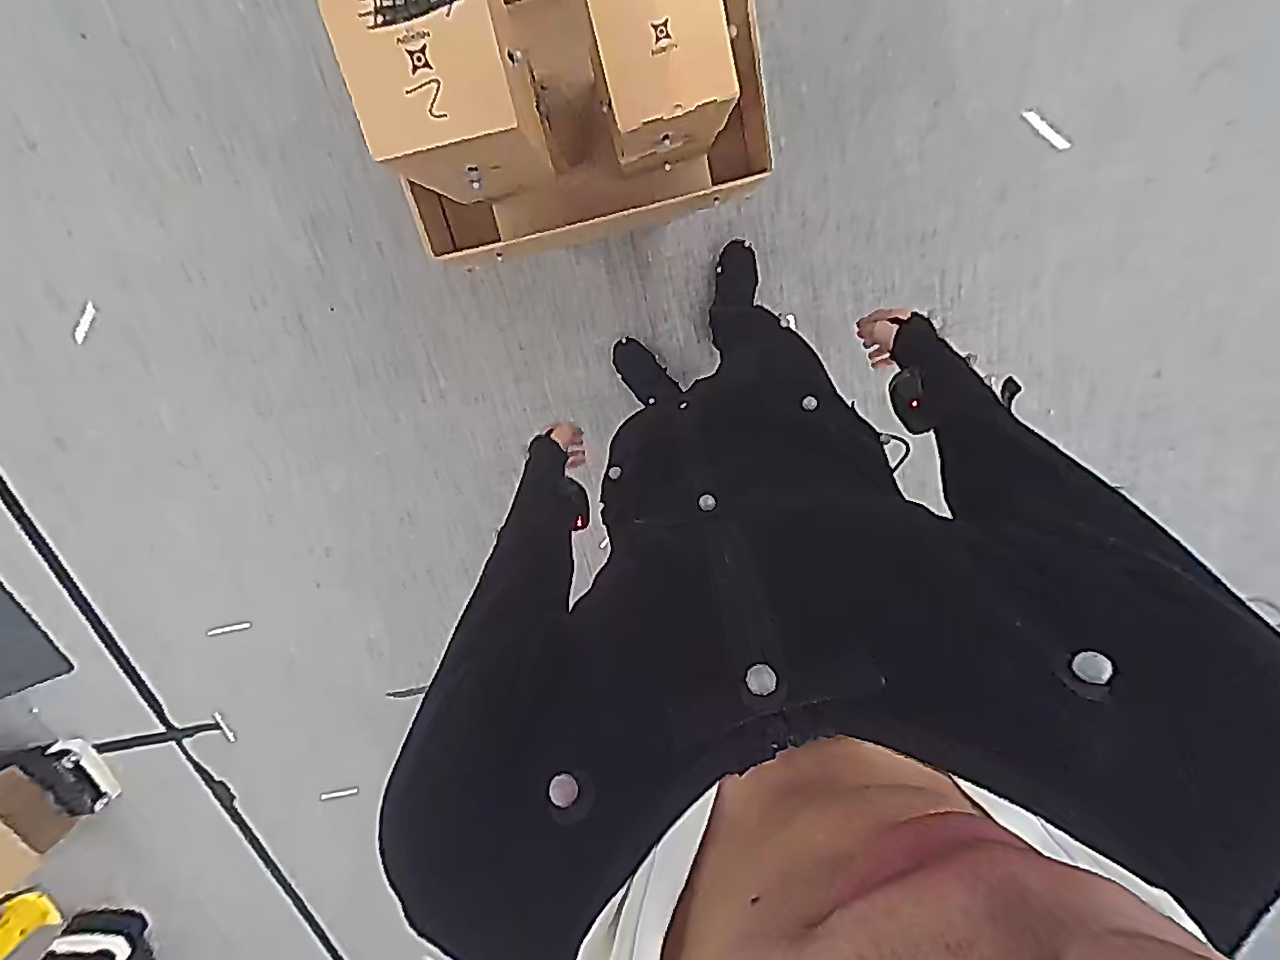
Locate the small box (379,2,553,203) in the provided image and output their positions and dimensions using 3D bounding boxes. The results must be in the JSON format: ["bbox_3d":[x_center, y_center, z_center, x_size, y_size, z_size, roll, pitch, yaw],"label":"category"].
[{"bbox_3d":[-0.234,-0.523,0.777,0.168,0.176,0.179,-12,109,5],"label":"small box"}]

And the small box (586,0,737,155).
[{"bbox_3d":[0.025,-0.588,0.756,0.168,0.176,0.179,-15,110,5],"label":"small box"}]
